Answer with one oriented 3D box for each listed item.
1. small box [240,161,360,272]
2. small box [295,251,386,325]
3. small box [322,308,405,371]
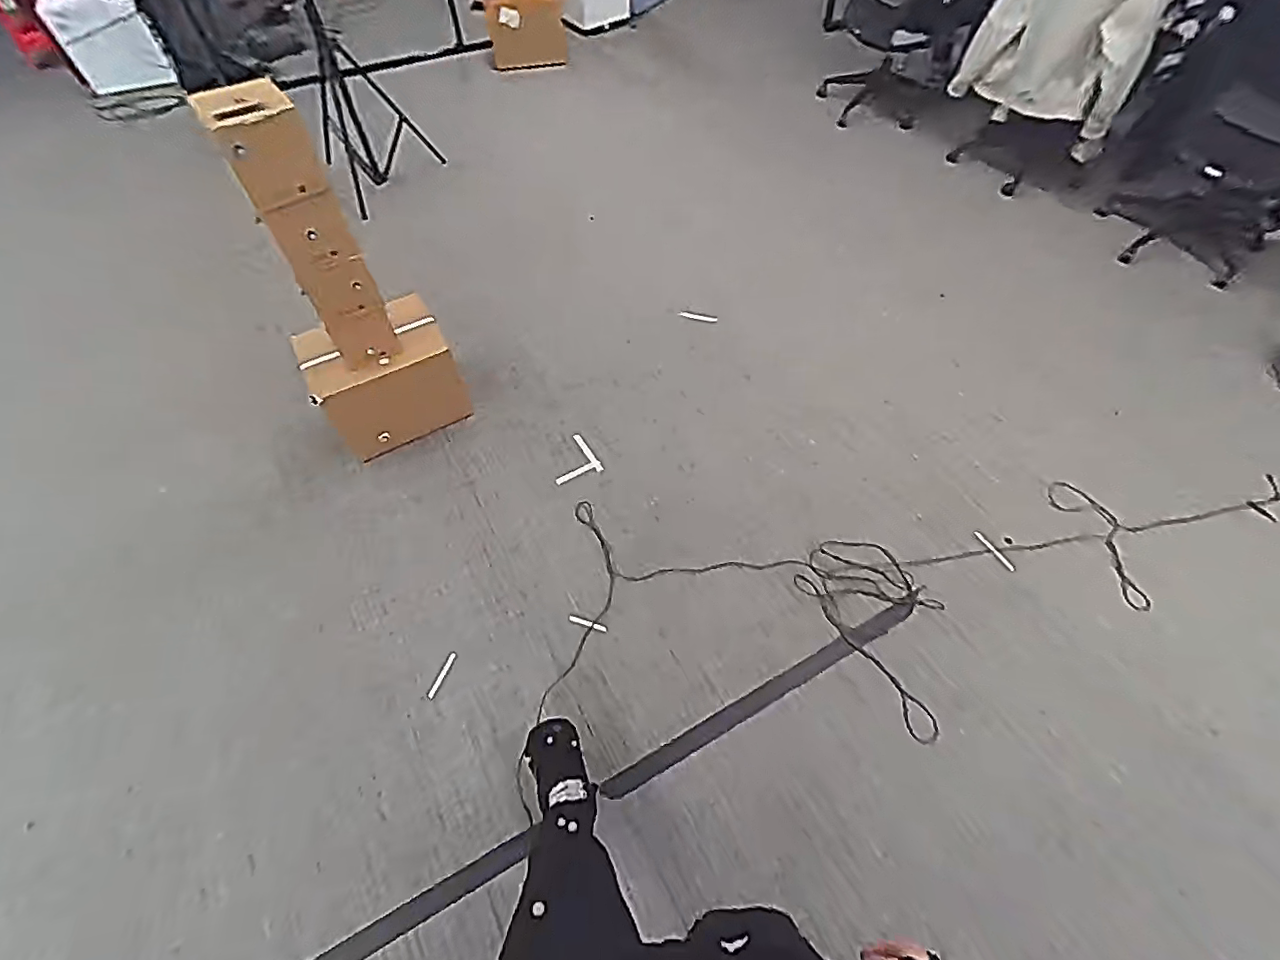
[{"bbox_3d":[-0.814,-0.631,1.310,0.168,0.176,0.179,-32,63,-21],"label":"small box"},{"bbox_3d":[-0.811,-0.539,1.448,0.168,0.176,0.179,-28,61,-19],"label":"small box"},{"bbox_3d":[-0.819,-0.452,1.584,0.168,0.176,0.179,-28,62,-17],"label":"small box"}]
